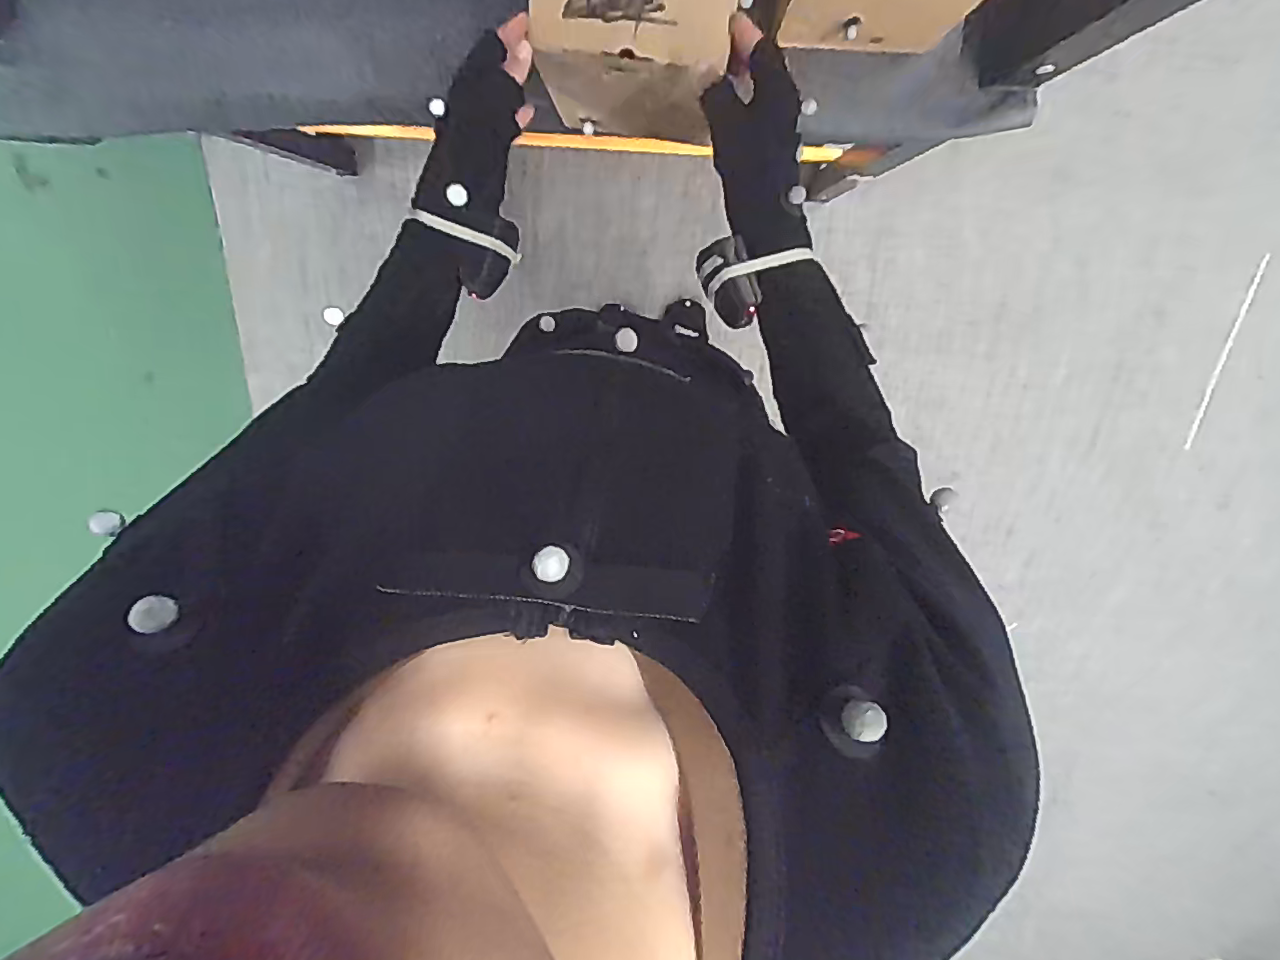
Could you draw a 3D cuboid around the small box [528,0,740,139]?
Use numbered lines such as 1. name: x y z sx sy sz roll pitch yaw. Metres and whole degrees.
1. small box: 0.007 -0.439 0.490 0.168 0.176 0.179 9 104 2
